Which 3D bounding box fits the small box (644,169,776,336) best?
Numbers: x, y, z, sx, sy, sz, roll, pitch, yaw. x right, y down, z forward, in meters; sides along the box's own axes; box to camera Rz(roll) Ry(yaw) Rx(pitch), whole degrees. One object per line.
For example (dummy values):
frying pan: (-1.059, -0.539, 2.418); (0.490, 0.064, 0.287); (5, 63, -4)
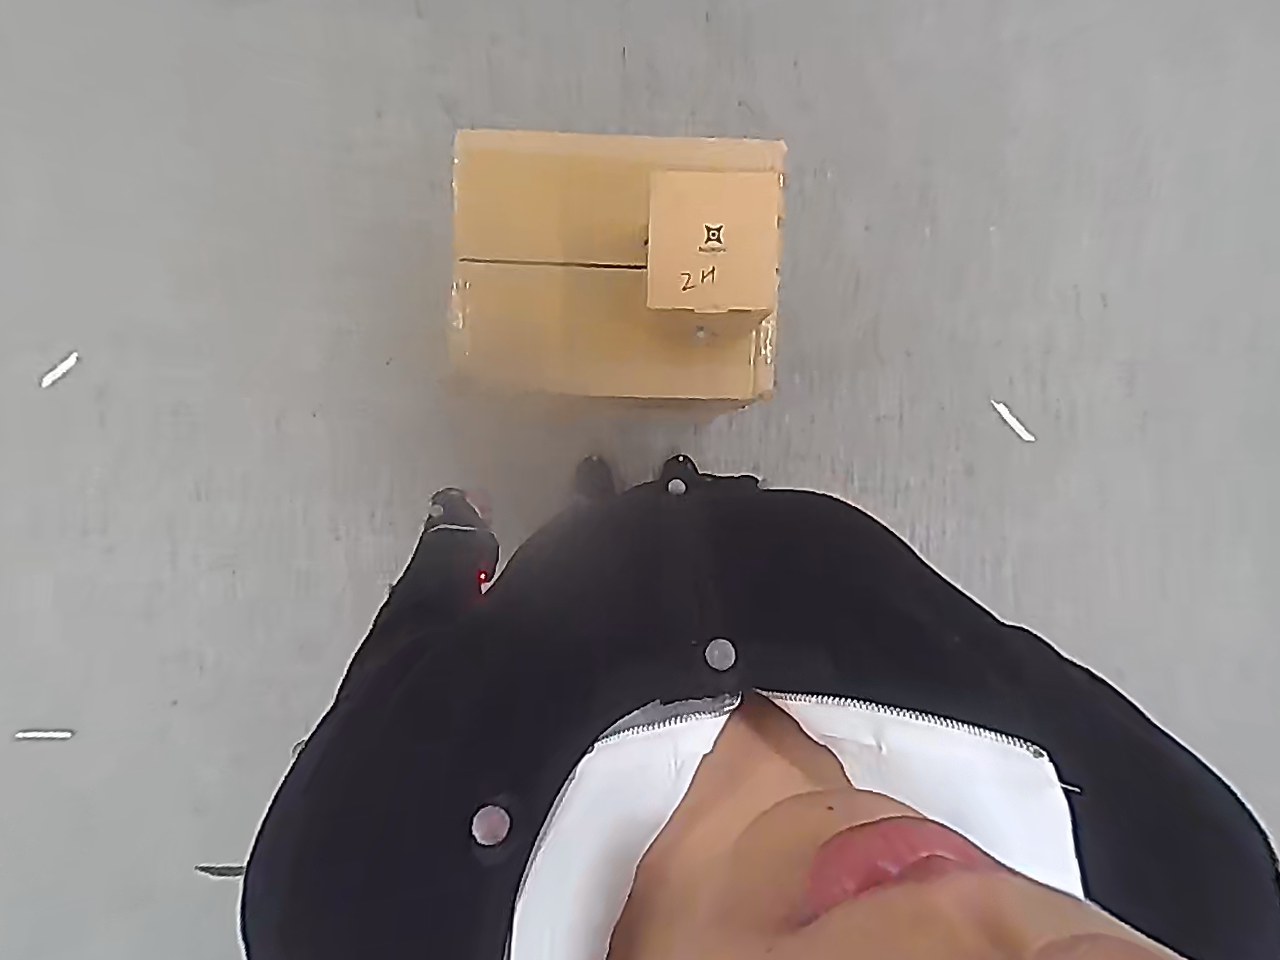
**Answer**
small box: (0.090, -0.313, 0.773); (0.168, 0.176, 0.179); (1, 94, 0)
